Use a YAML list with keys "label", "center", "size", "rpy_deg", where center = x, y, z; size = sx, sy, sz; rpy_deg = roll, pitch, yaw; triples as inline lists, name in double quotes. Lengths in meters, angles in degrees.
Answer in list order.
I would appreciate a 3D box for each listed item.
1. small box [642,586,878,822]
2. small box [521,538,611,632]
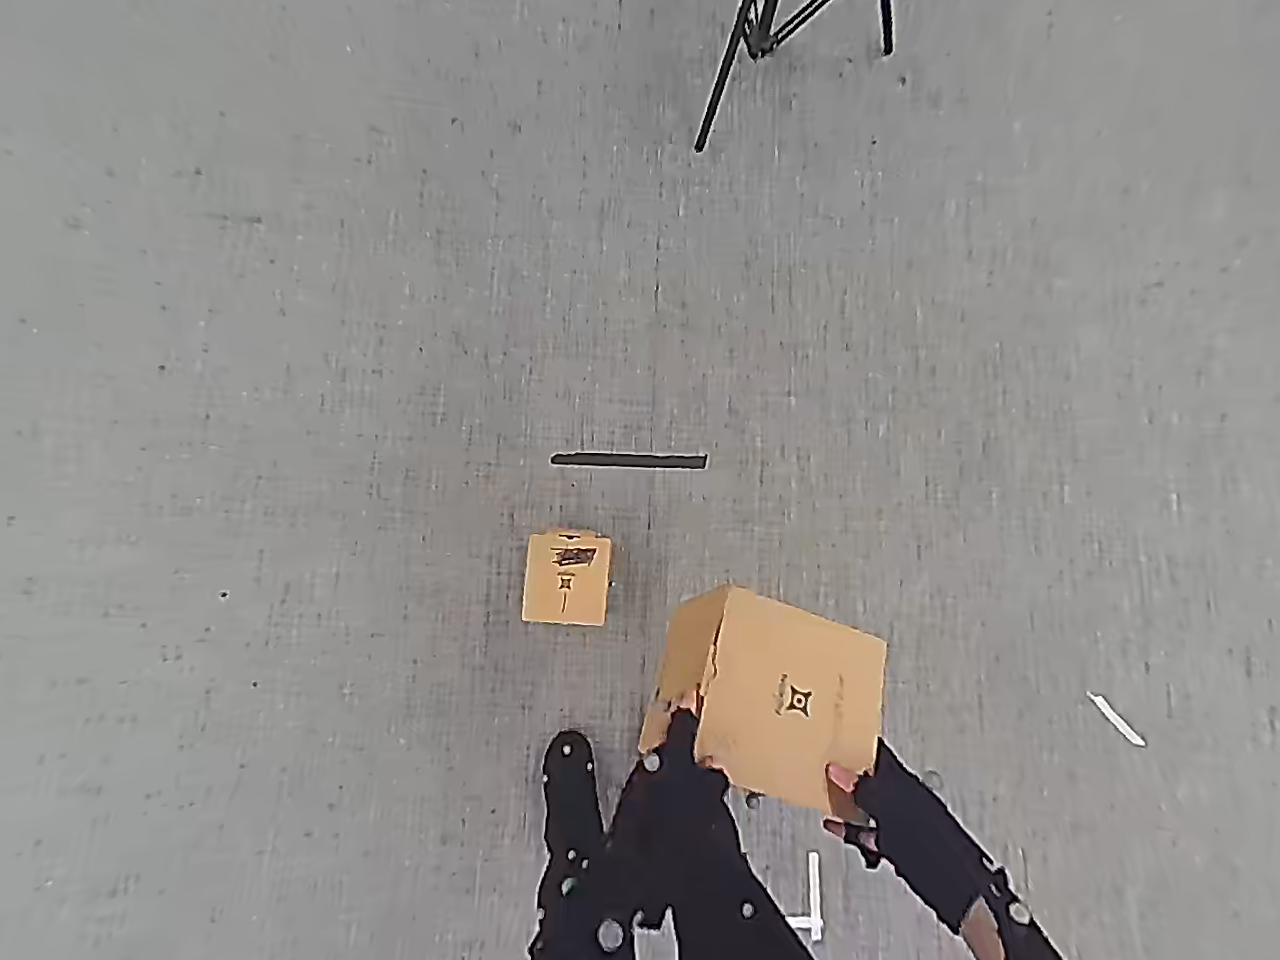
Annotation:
- label: "small box"
  center: [0.116, 0.230, 0.571]
  size: [0.179, 0.176, 0.168]
  rpy_deg: [21, 66, -7]
- label: "small box"
  center: [-0.150, 0.218, 1.151]
  size: [0.168, 0.176, 0.179]
  rpy_deg: [5, 83, -1]
